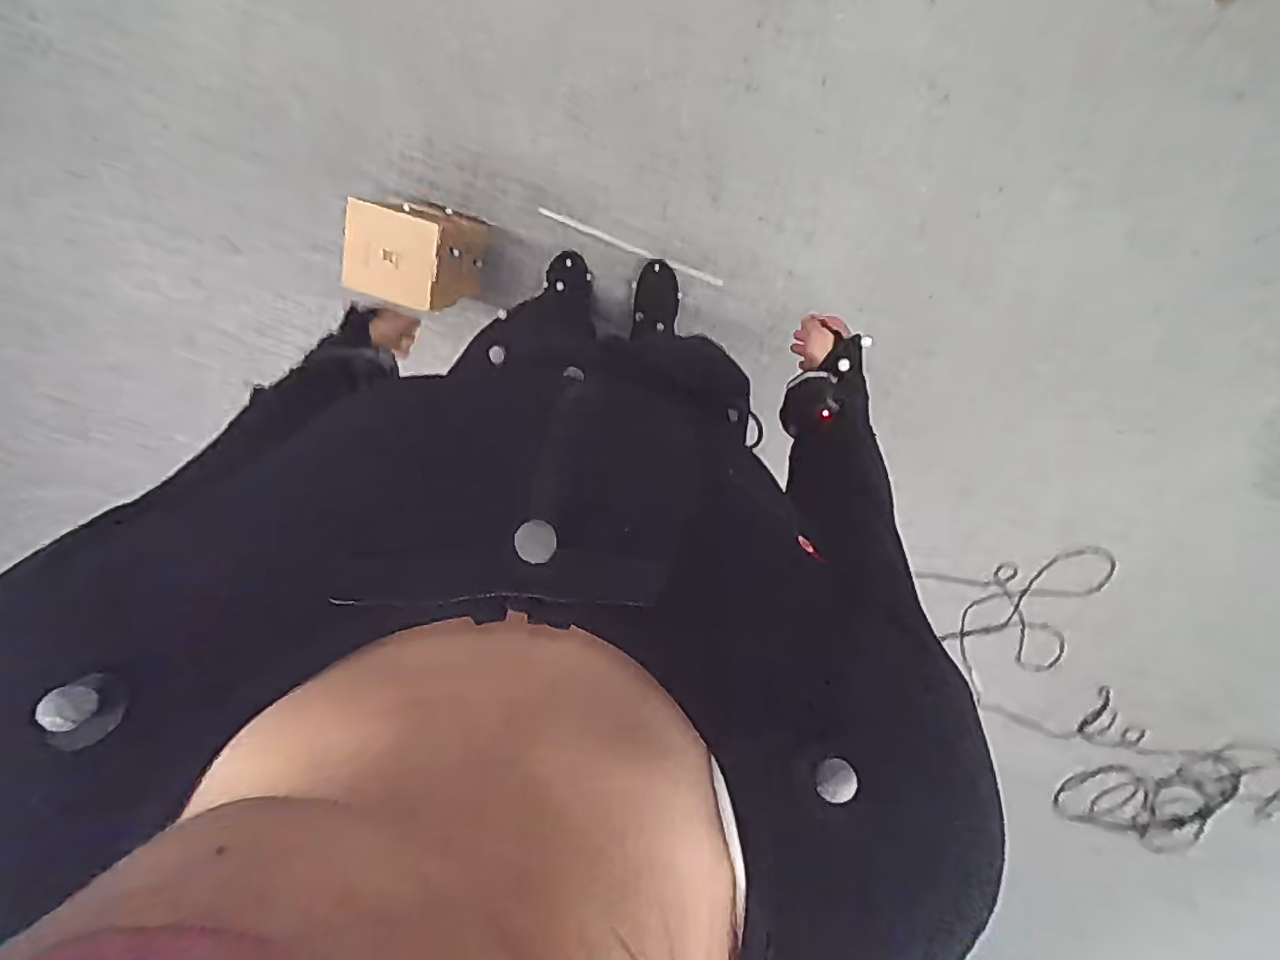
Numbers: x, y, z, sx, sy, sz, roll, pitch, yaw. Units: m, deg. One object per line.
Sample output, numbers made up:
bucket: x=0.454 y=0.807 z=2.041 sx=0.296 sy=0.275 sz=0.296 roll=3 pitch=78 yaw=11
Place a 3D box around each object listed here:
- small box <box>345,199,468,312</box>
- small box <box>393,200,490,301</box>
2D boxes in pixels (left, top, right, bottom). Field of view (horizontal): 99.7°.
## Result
small box: x=-0.473 y=-0.461 z=1.115 sx=0.179 sy=0.176 sz=0.168 roll=16 pitch=111 yaw=-4
small box: x=-0.466 y=-0.535 z=1.261 sx=0.179 sy=0.176 sz=0.168 roll=18 pitch=112 yaw=-6
